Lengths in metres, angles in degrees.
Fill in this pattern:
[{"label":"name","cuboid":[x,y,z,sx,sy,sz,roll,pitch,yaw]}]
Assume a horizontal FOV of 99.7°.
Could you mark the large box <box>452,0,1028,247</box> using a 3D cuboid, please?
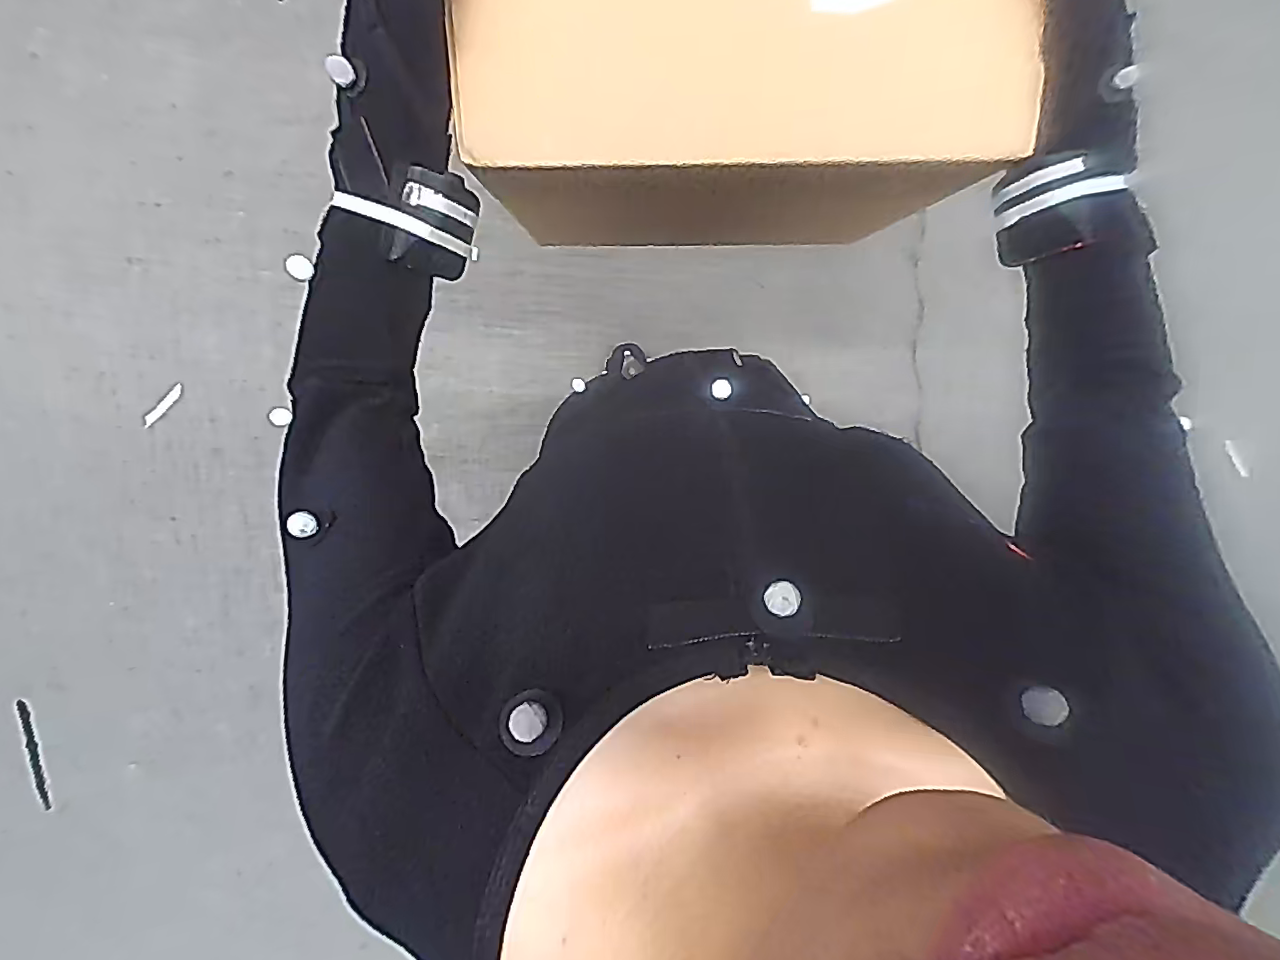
[{"label":"large box","cuboid":[0.064,-0.416,0.502,0.408,0.320,0.320,-1,103,-1]}]
